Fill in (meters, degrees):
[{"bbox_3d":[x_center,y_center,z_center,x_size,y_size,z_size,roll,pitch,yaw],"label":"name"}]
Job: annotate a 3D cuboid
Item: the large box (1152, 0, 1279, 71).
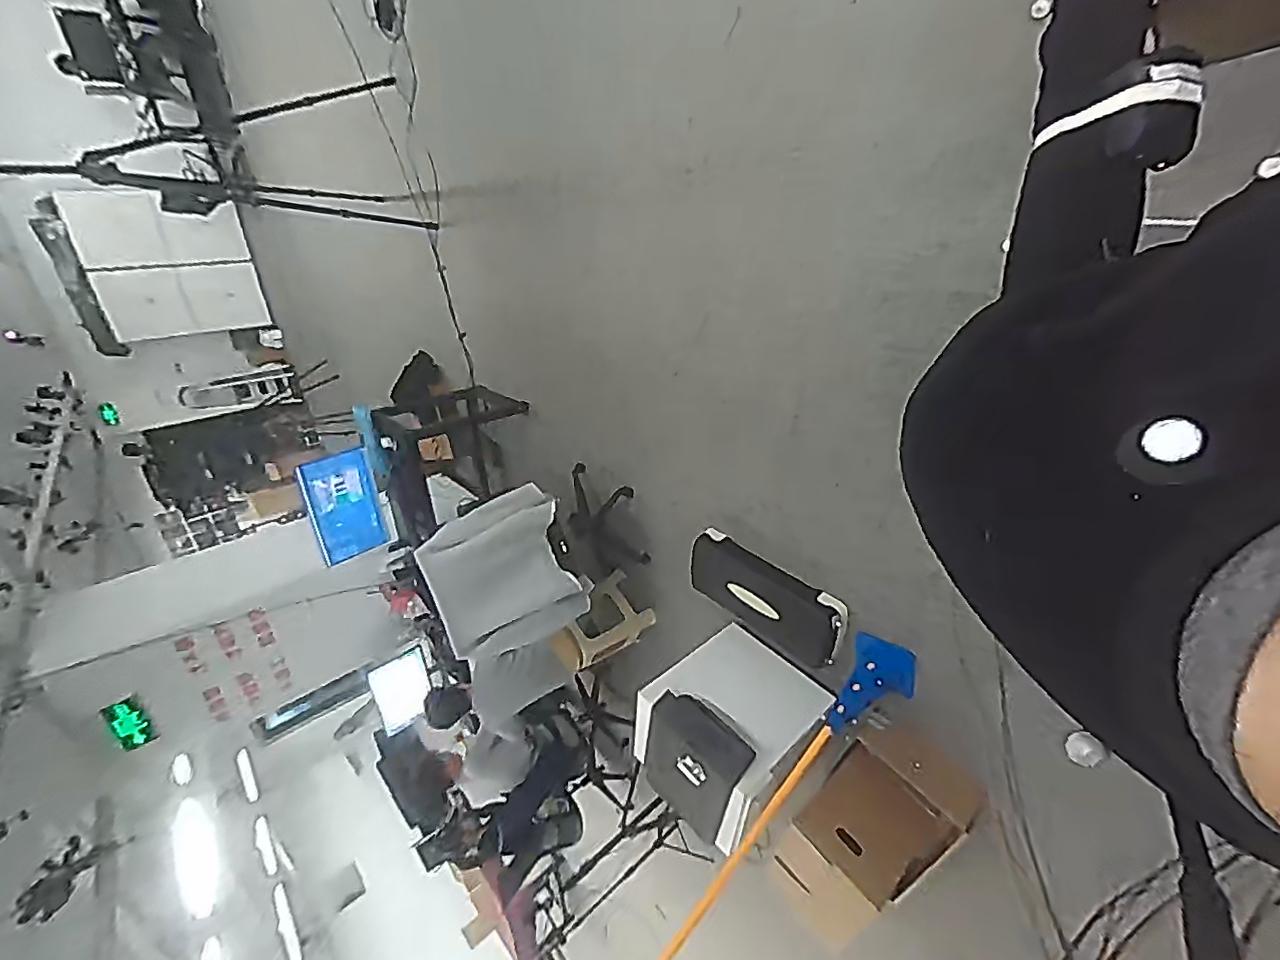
[{"bbox_3d":[0.557,-0.478,0.269,0.408,0.320,0.320,9,115,43],"label":"large box"}]
